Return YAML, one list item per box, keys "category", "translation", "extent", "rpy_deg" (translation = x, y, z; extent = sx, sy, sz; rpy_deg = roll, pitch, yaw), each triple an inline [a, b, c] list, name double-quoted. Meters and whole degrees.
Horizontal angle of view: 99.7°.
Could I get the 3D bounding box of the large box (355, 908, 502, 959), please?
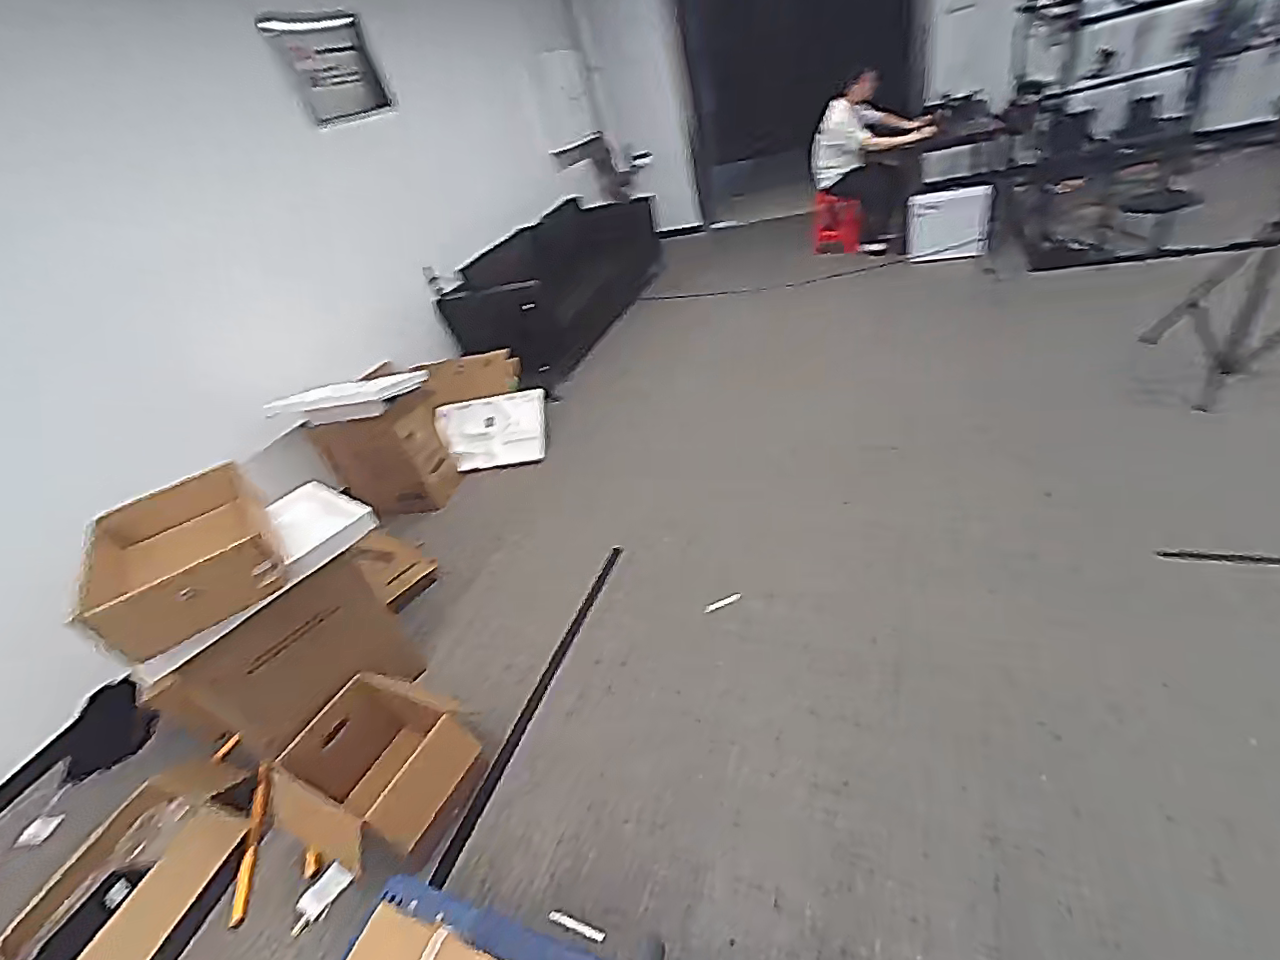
- category: "large box"
  translation: [-0.360, 1.029, 0.885]
  extent: [0.320, 0.320, 0.408]
  rpy_deg: [0, 39, 26]
